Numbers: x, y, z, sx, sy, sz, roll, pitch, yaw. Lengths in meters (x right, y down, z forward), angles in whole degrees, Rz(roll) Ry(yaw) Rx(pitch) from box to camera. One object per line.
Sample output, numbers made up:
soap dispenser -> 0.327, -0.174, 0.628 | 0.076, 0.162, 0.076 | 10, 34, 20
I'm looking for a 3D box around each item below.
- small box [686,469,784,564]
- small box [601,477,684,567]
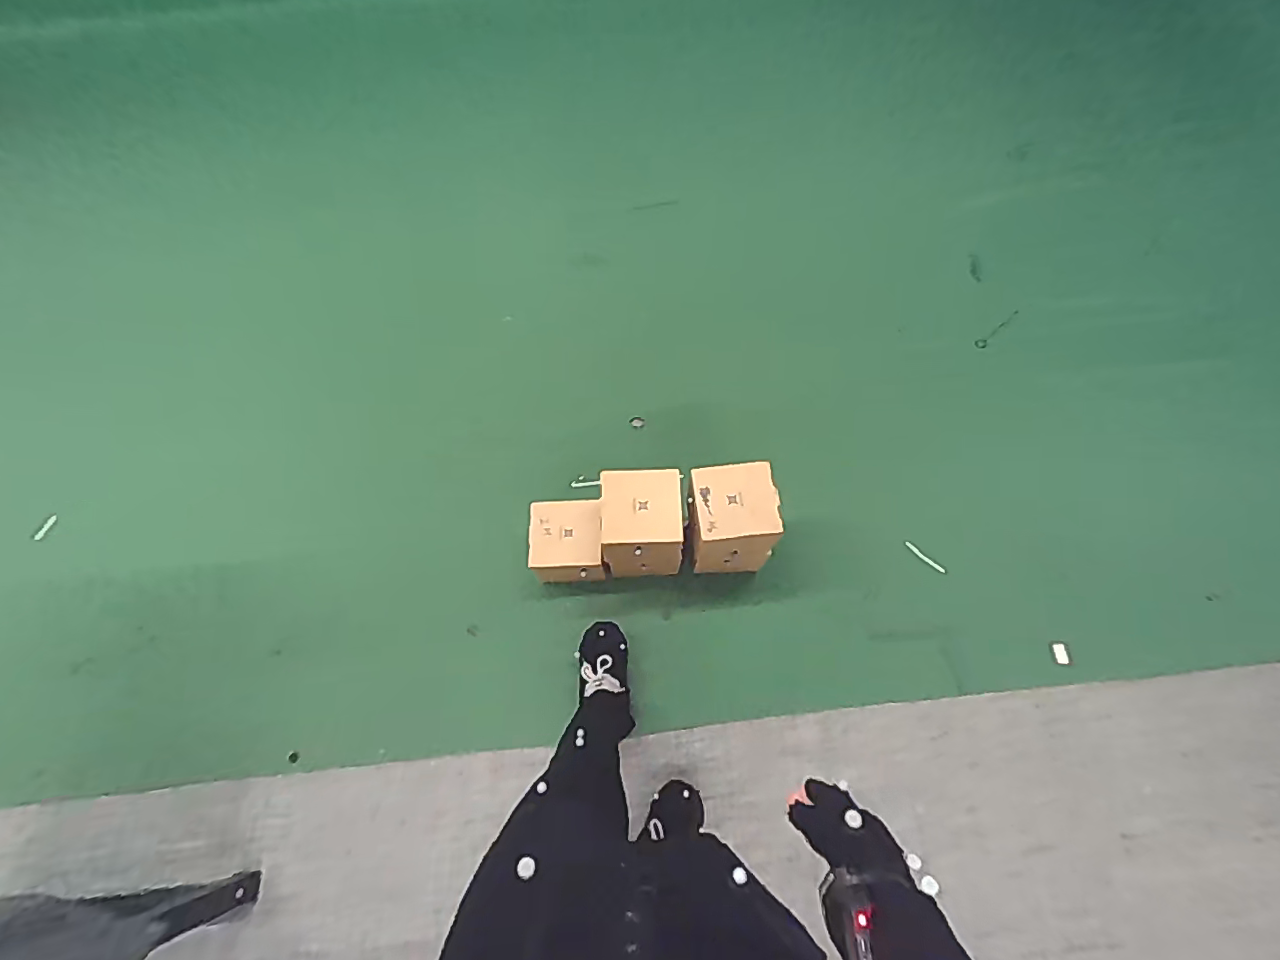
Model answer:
small box -> 0.207, 0.087, 1.228 | 0.179, 0.176, 0.168 | -5, 67, -3
small box -> 0.006, 0.098, 1.228 | 0.179, 0.176, 0.168 | -1, 68, 2
